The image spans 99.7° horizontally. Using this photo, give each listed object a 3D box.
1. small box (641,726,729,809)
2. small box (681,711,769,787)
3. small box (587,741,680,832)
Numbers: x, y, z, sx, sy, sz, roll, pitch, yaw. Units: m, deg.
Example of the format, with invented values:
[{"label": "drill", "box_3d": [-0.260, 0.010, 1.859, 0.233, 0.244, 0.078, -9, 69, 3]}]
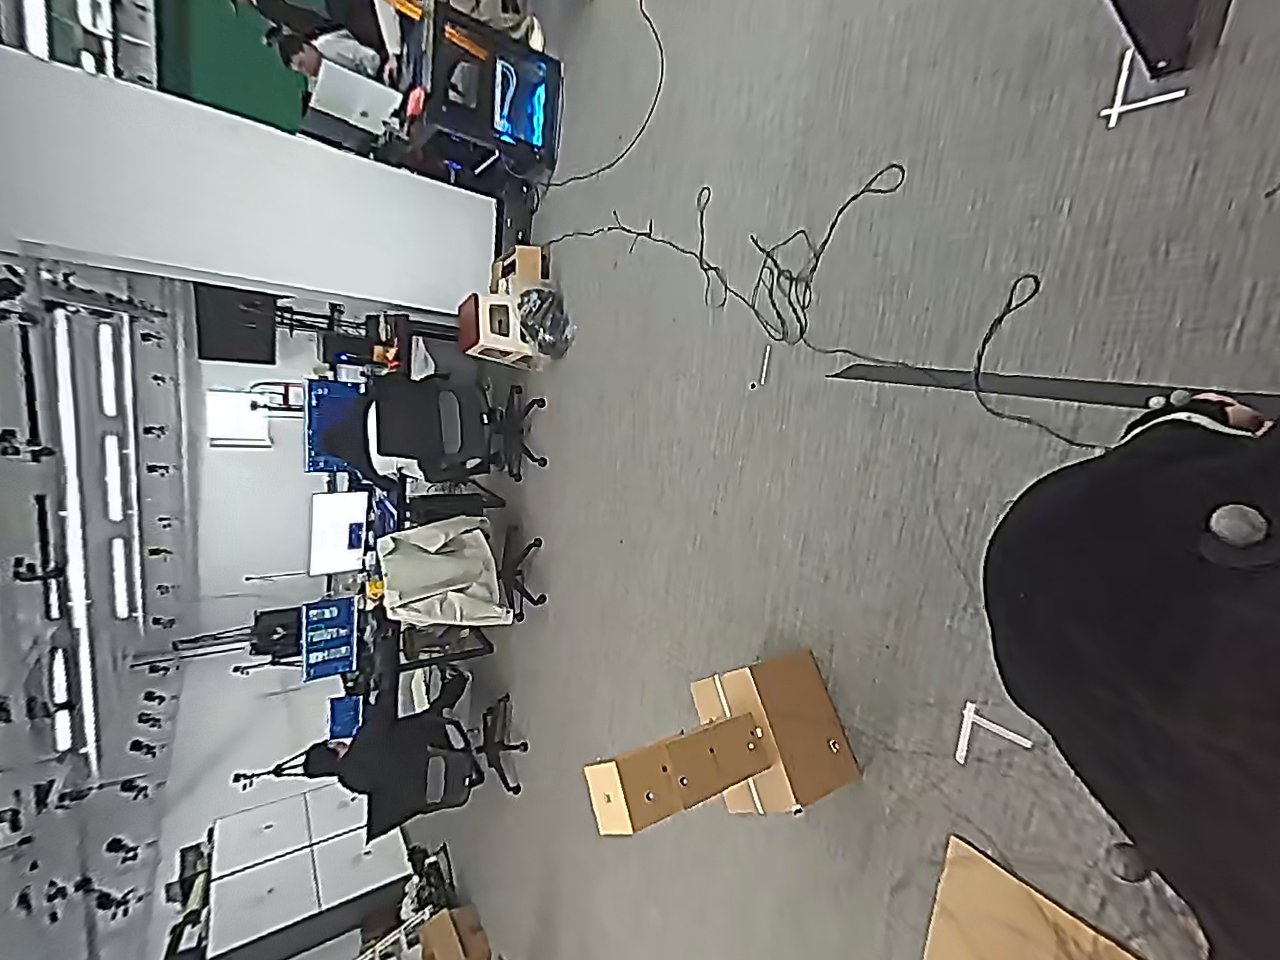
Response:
[{"label": "small box", "box_3d": [0.119, 0.813, 1.529, 0.179, 0.176, 0.168, -43, 57, 46]}, {"label": "small box", "box_3d": [0.253, 0.810, 1.623, 0.179, 0.176, 0.168, -42, 58, 45]}, {"label": "small box", "box_3d": [-0.013, 0.810, 1.433, 0.179, 0.176, 0.168, -43, 57, 46]}]
